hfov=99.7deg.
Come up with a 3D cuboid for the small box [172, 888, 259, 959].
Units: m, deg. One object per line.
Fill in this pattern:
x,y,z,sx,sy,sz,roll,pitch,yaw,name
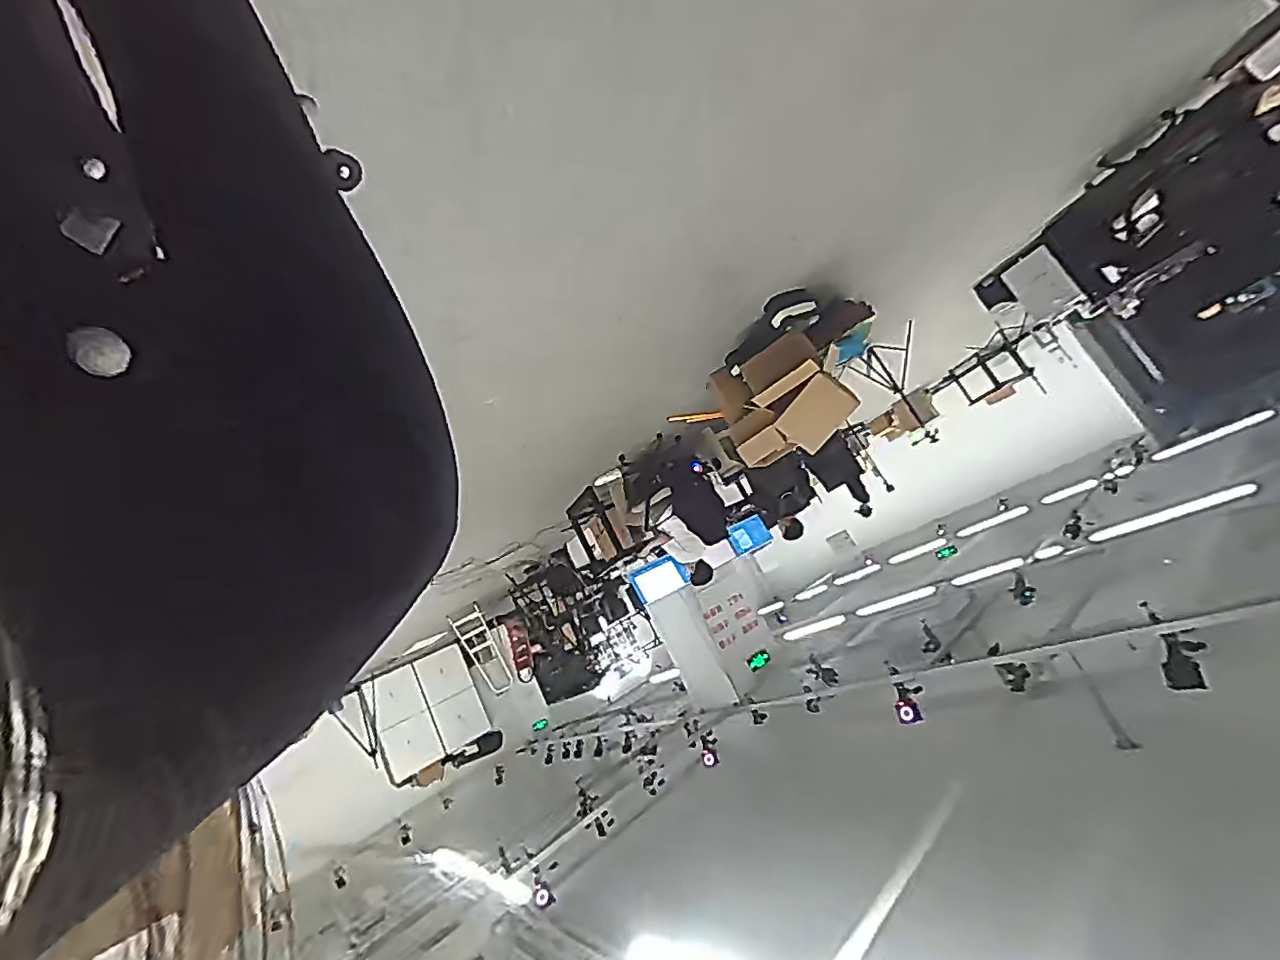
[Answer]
-1.322,1.418,1.687,0.168,0.176,0.179,-19,162,-36,small box
